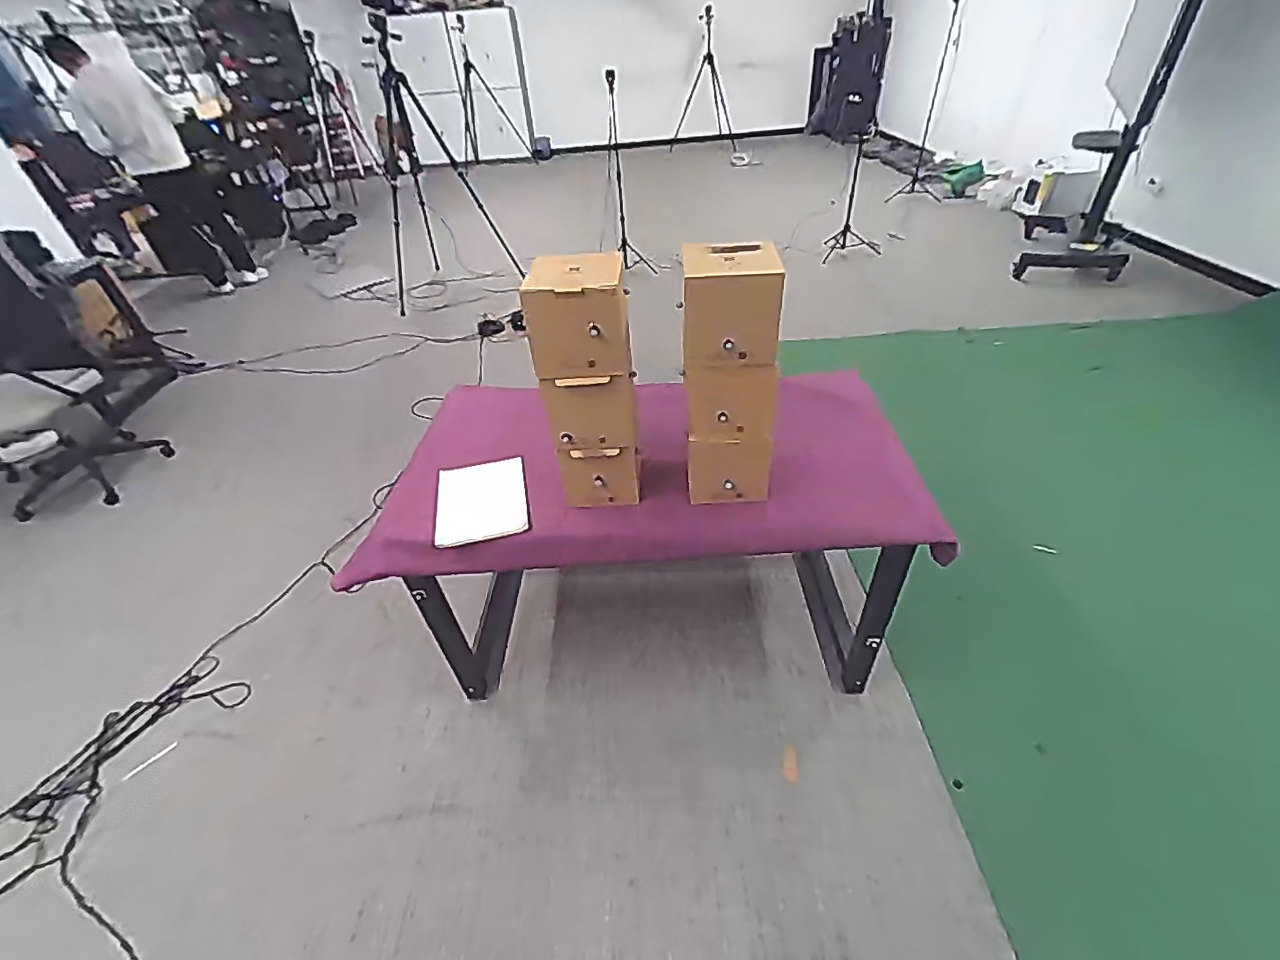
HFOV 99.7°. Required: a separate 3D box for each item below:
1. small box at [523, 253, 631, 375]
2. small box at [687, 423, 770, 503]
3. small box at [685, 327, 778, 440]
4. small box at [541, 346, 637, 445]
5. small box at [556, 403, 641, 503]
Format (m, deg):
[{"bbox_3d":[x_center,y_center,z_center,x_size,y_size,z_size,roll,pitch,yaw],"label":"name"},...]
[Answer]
[{"bbox_3d":[-0.105,-0.304,1.003,0.168,0.176,0.179,-1,40,4],"label":"small box"},{"bbox_3d":[0.189,-0.067,1.201,0.168,0.176,0.179,-3,39,4],"label":"small box"},{"bbox_3d":[0.177,-0.197,1.103,0.168,0.176,0.179,-2,39,3],"label":"small box"},{"bbox_3d":[-0.095,-0.182,1.111,0.168,0.176,0.179,-2,39,4],"label":"small box"},{"bbox_3d":[-0.085,-0.060,1.221,0.168,0.176,0.179,-2,41,3],"label":"small box"}]
